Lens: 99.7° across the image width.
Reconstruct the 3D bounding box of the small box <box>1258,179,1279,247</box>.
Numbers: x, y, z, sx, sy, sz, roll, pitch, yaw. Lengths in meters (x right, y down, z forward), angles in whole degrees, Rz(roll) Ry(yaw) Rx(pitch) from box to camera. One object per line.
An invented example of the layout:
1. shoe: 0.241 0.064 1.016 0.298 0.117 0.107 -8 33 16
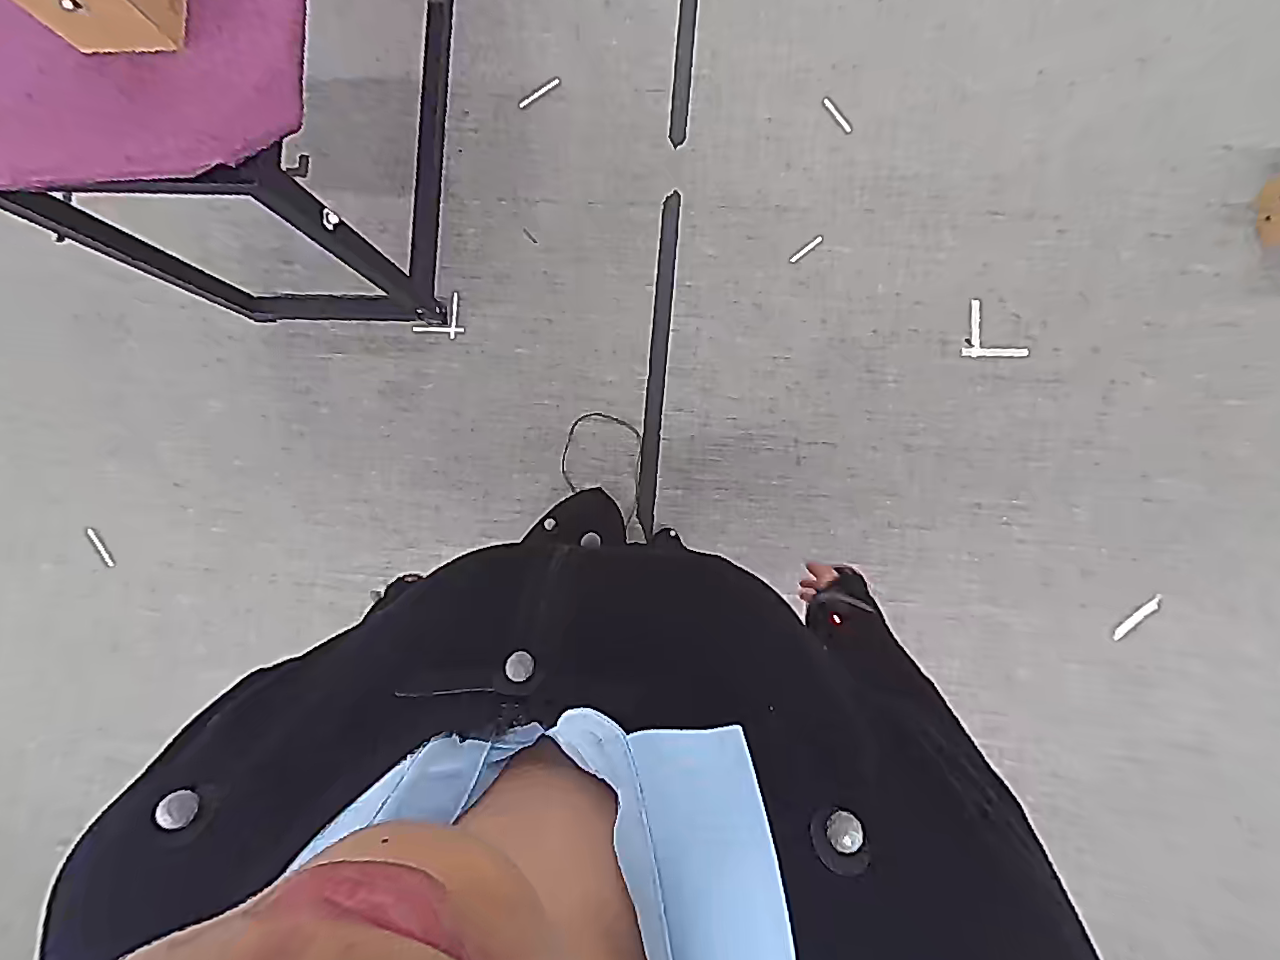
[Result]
1. small box: 1.738 -0.702 1.364 0.179 0.176 0.168 6 88 3
